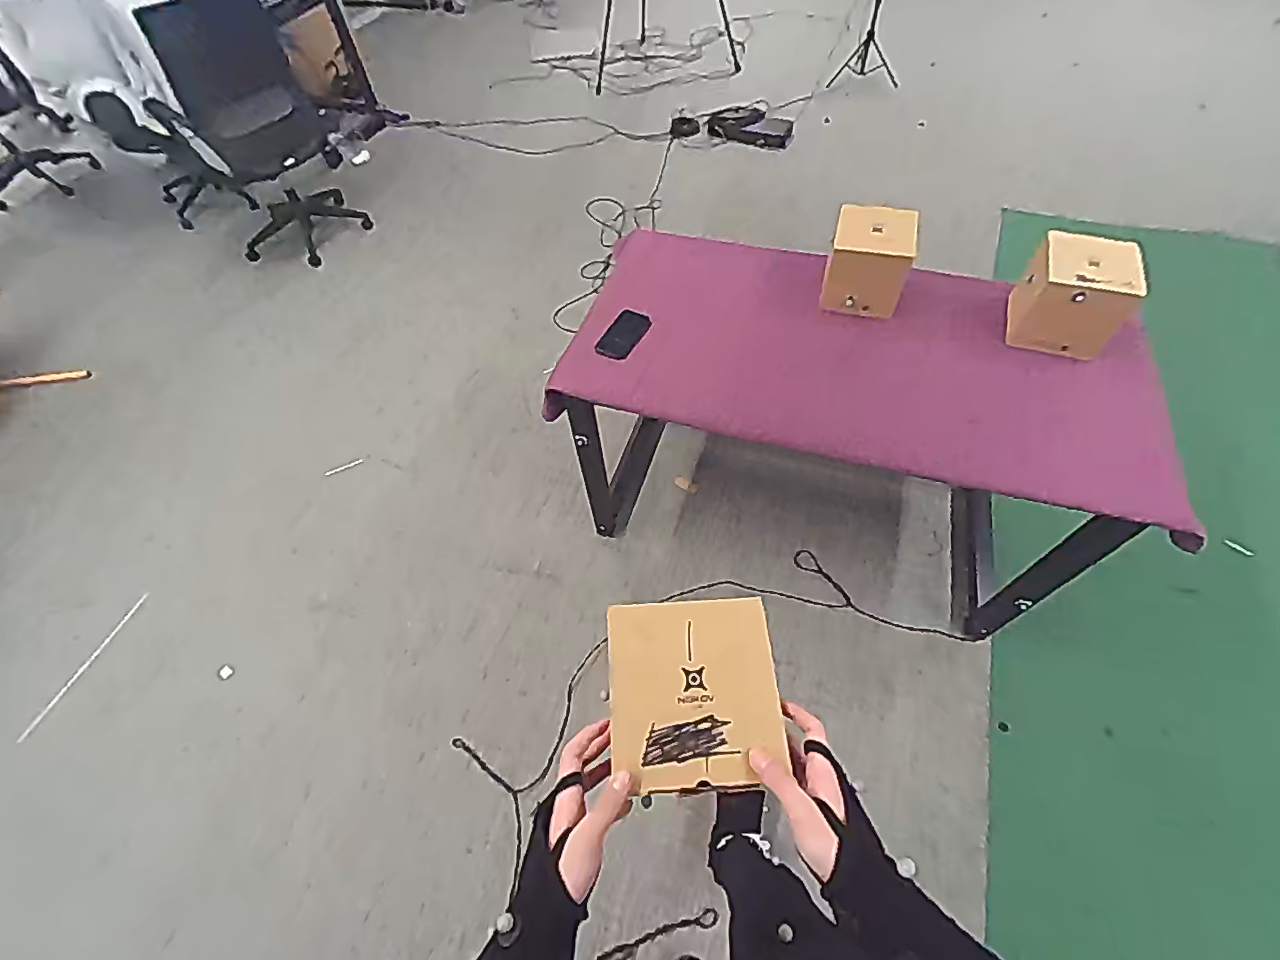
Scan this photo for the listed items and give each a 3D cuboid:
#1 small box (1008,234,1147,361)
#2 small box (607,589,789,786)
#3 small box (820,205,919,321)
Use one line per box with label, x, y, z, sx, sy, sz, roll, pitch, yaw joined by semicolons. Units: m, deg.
small box;0.899;-0.380;1.129;0.168;0.176;0.179;16;58;15
small box;0.052;0.232;0.594;0.168;0.176;0.179;-3;60;-2
small box;0.518;-0.494;1.234;0.168;0.176;0.179;13;58;13
